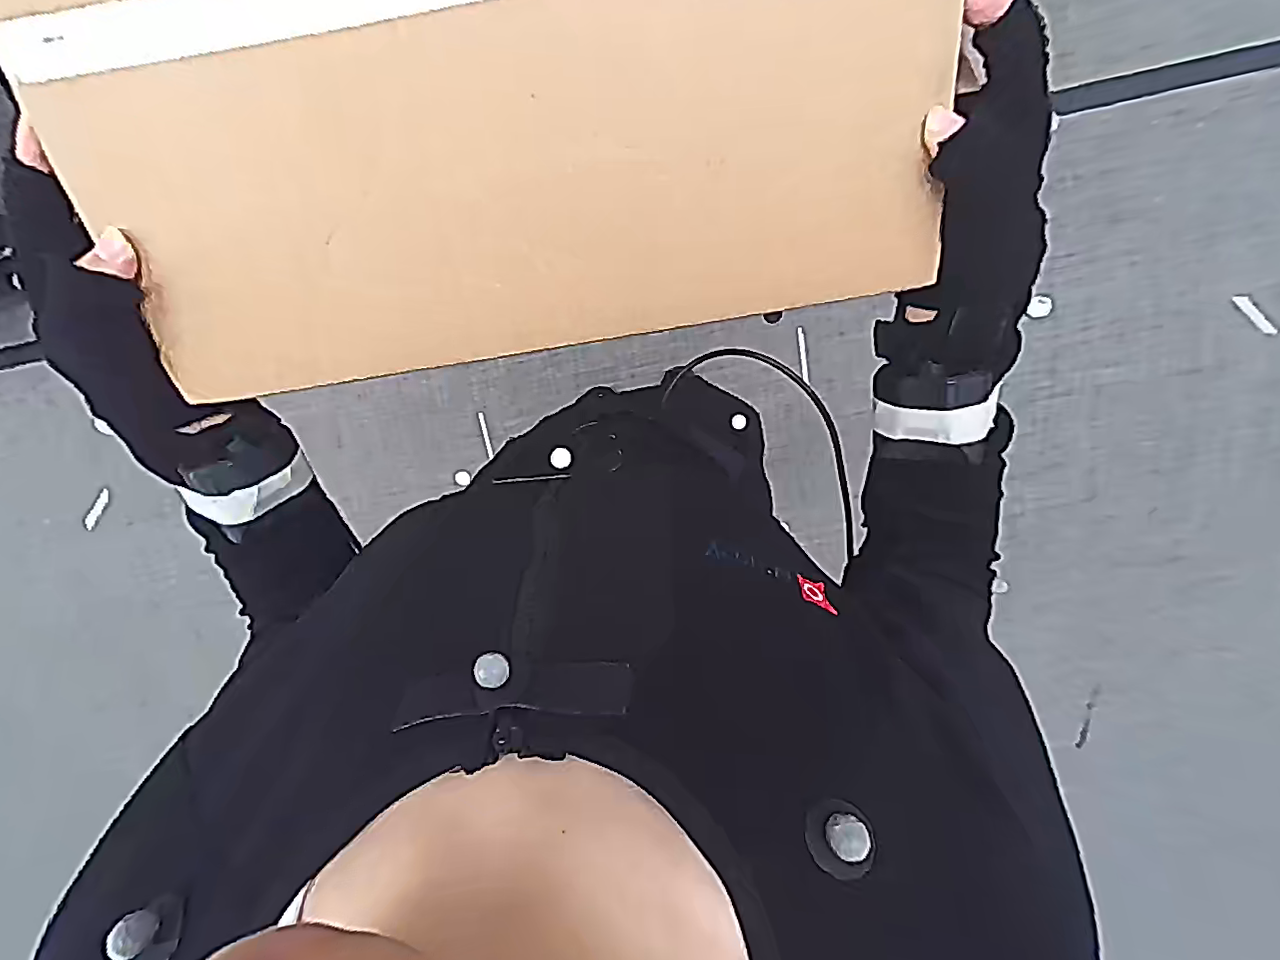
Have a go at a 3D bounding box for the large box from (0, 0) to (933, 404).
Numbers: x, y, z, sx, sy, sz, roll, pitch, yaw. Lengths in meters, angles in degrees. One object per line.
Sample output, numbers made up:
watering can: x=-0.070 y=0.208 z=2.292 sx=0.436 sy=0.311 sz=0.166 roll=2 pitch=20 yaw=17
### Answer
large box: x=-0.074 y=-0.275 z=0.366 sx=0.408 sy=0.320 sz=0.320 roll=-9 pitch=115 yaw=2
